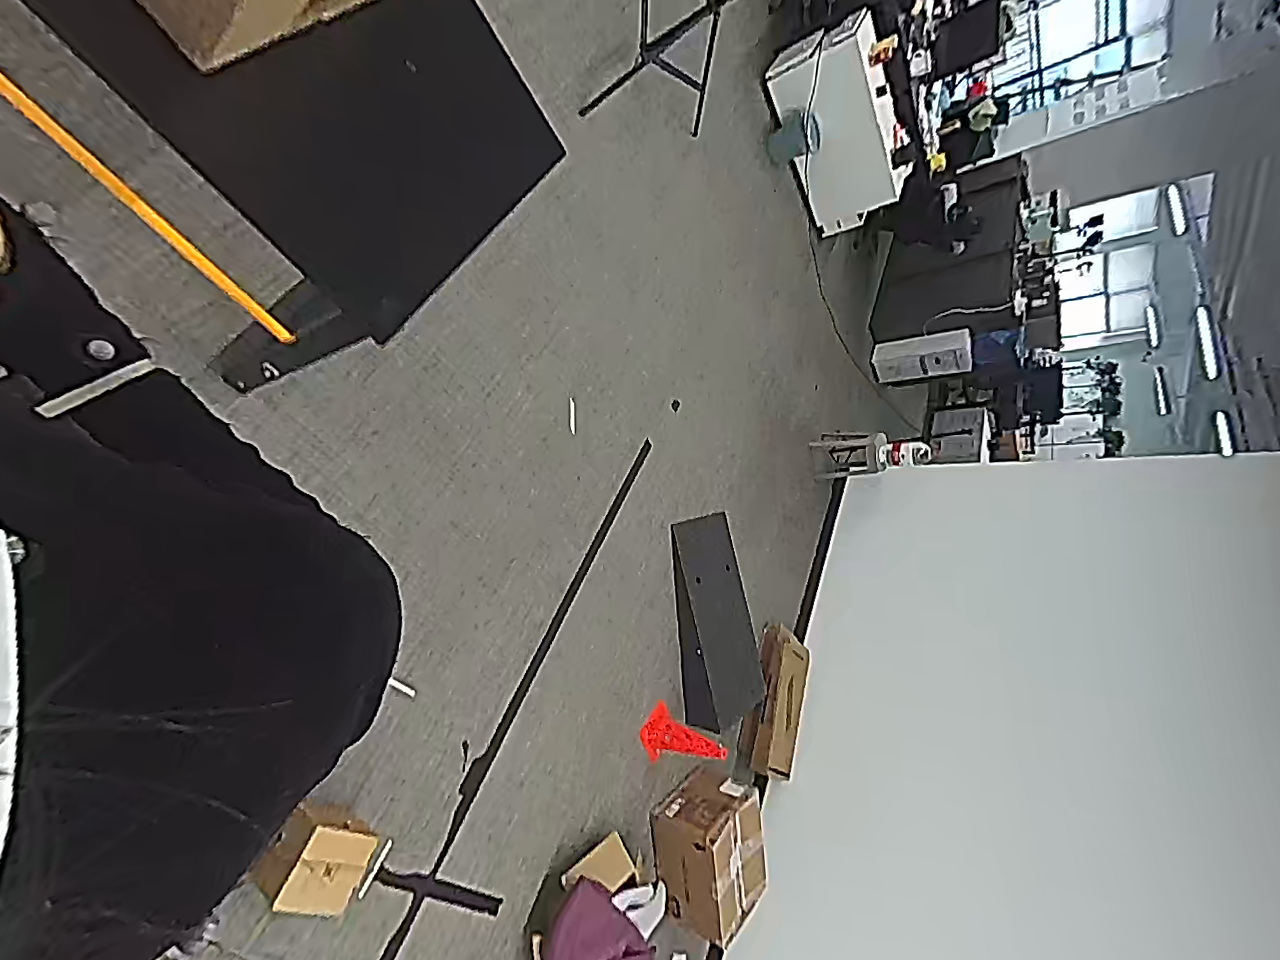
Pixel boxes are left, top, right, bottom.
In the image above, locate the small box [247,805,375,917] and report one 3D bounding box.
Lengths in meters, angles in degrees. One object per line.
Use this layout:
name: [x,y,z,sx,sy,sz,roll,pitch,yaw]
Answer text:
small box: [-0.786,0.905,1.294,0.179,0.176,0.168,46,54,-38]
